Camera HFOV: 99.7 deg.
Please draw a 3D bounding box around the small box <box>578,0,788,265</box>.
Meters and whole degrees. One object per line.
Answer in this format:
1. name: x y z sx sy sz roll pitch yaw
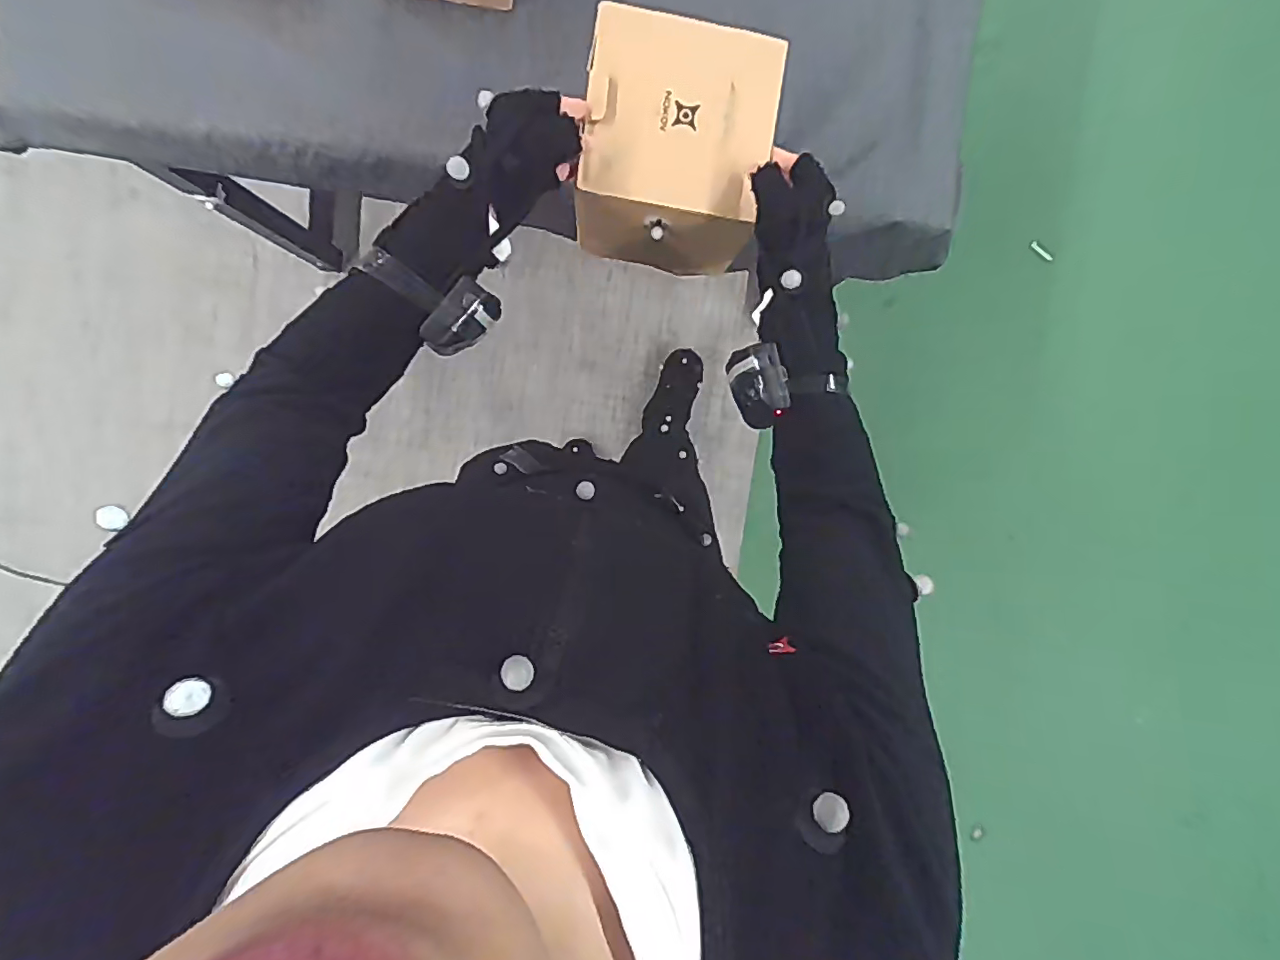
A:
1. small box: 0.032 -0.343 0.569 0.179 0.176 0.168 7 94 -7
